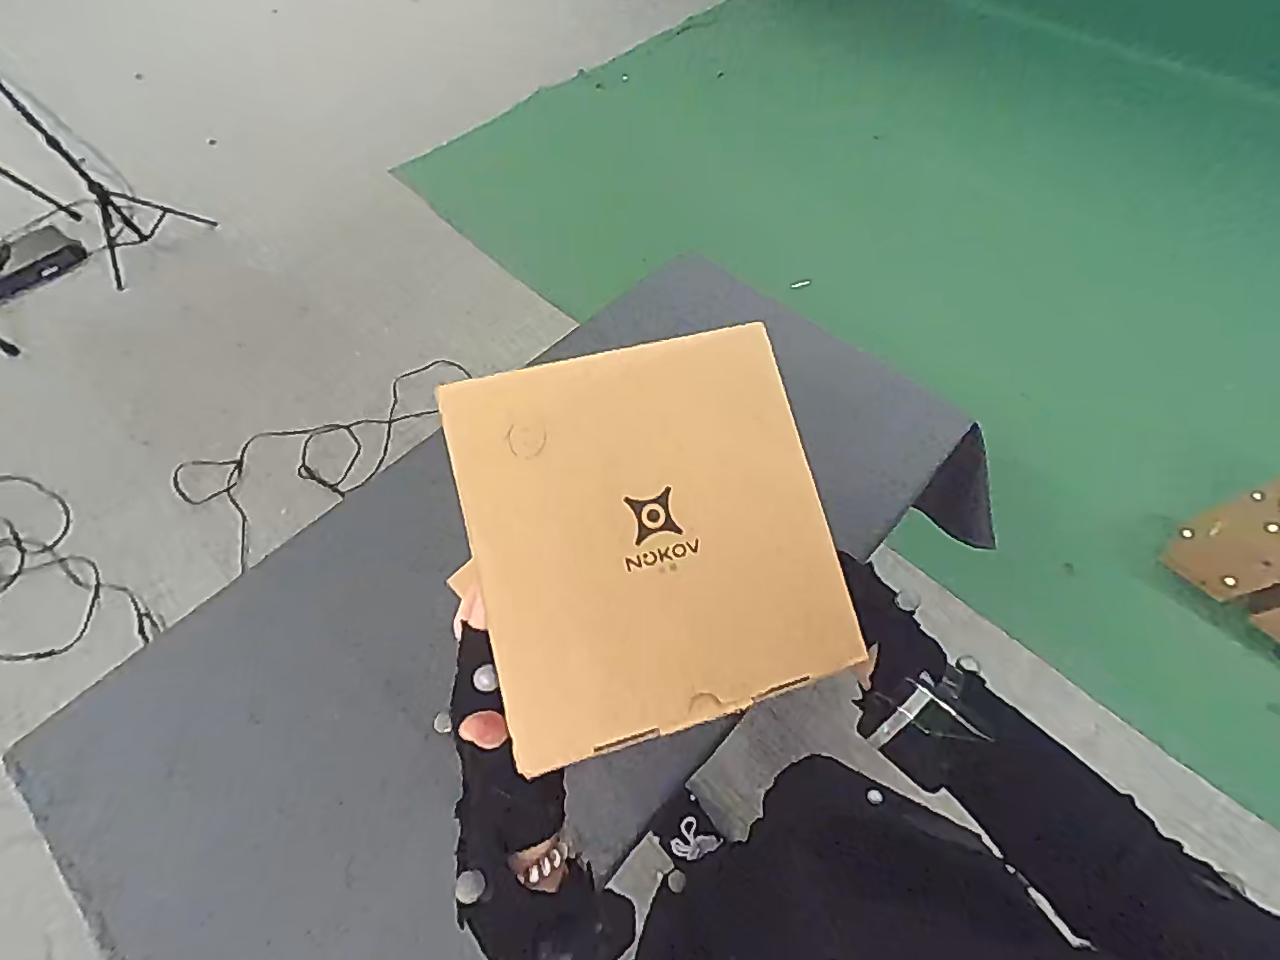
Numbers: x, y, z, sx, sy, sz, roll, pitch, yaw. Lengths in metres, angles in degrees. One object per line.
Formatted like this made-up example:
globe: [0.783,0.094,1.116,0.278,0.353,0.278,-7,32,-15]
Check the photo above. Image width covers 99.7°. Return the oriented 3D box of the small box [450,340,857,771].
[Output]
small box: [-0.005,0.039,0.335,0.168,0.176,0.179,-14,83,-11]

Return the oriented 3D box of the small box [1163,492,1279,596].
small box: [1.526,0.172,1.399,0.179,0.176,0.168,-38,67,-17]
